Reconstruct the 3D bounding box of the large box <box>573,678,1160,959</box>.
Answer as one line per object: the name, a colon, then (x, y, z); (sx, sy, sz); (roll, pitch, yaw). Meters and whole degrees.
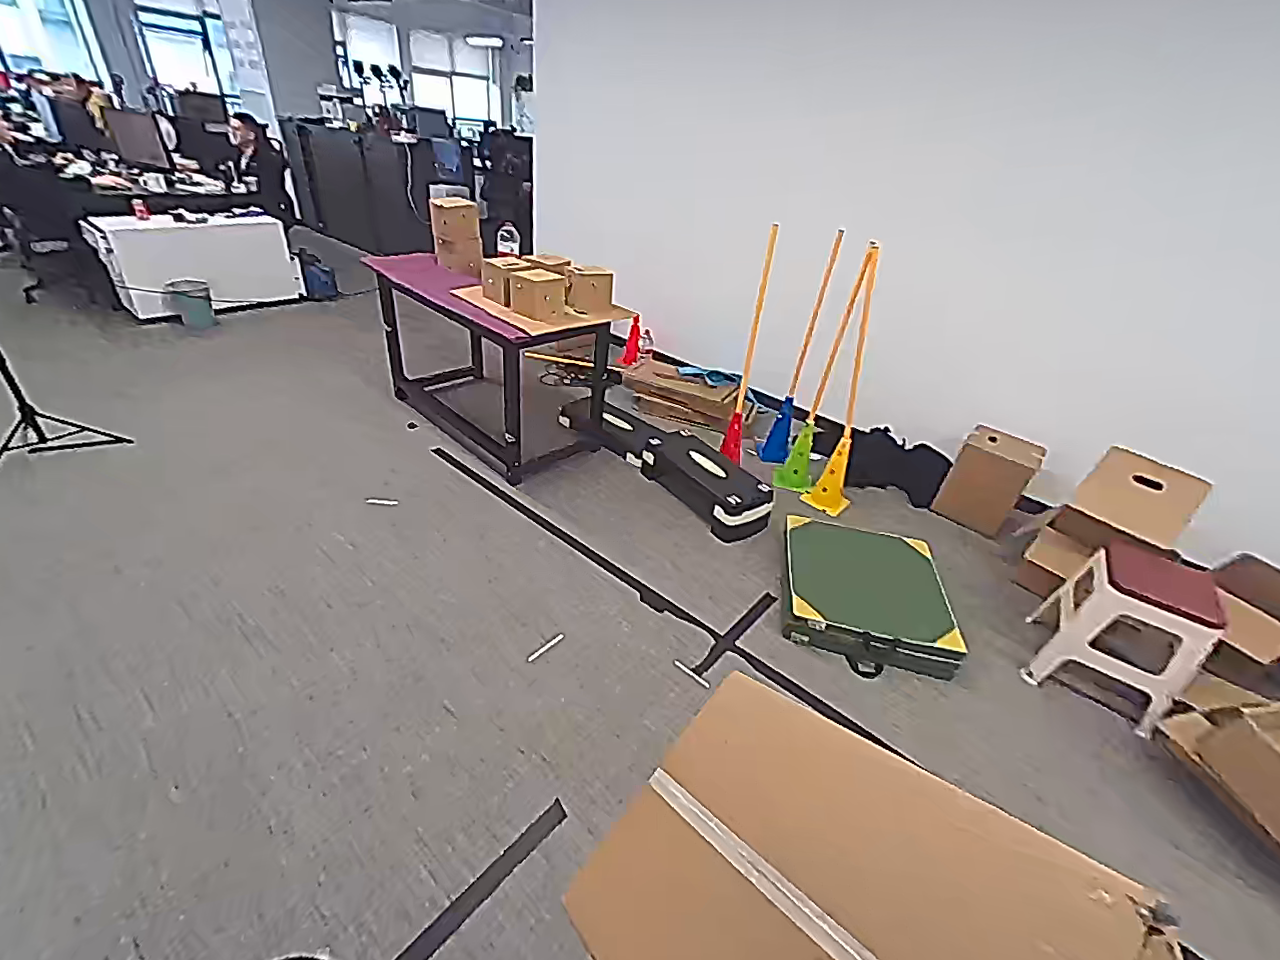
large box: (0.210, 0.479, 0.539); (0.320, 0.320, 0.408); (-45, 28, -22)
